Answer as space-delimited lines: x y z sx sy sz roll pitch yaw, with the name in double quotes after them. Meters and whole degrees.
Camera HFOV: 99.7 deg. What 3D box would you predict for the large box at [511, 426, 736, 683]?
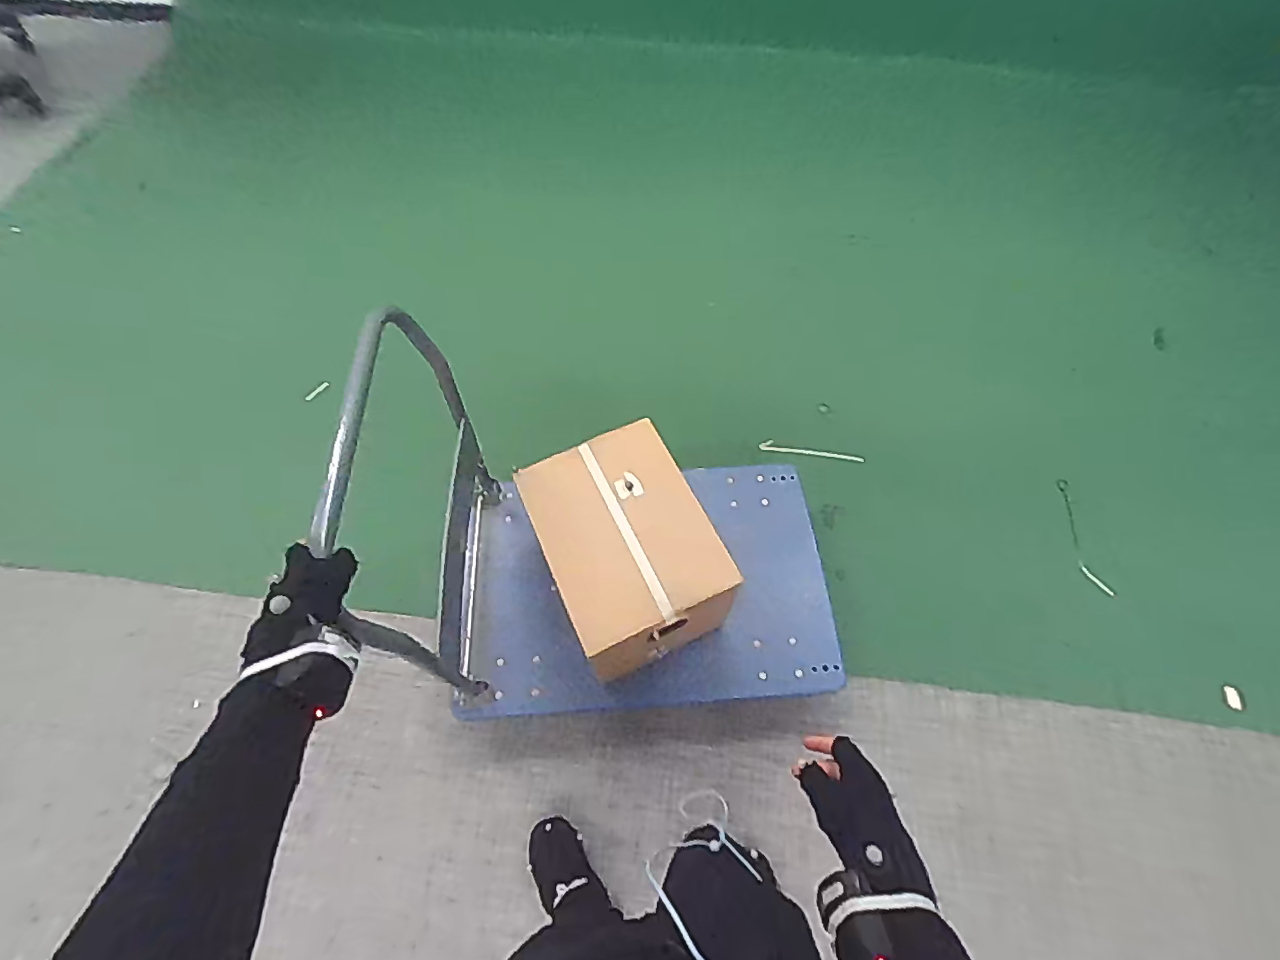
-0.037 0.167 1.179 0.320 0.320 0.408 -23 62 -11 "large box"
